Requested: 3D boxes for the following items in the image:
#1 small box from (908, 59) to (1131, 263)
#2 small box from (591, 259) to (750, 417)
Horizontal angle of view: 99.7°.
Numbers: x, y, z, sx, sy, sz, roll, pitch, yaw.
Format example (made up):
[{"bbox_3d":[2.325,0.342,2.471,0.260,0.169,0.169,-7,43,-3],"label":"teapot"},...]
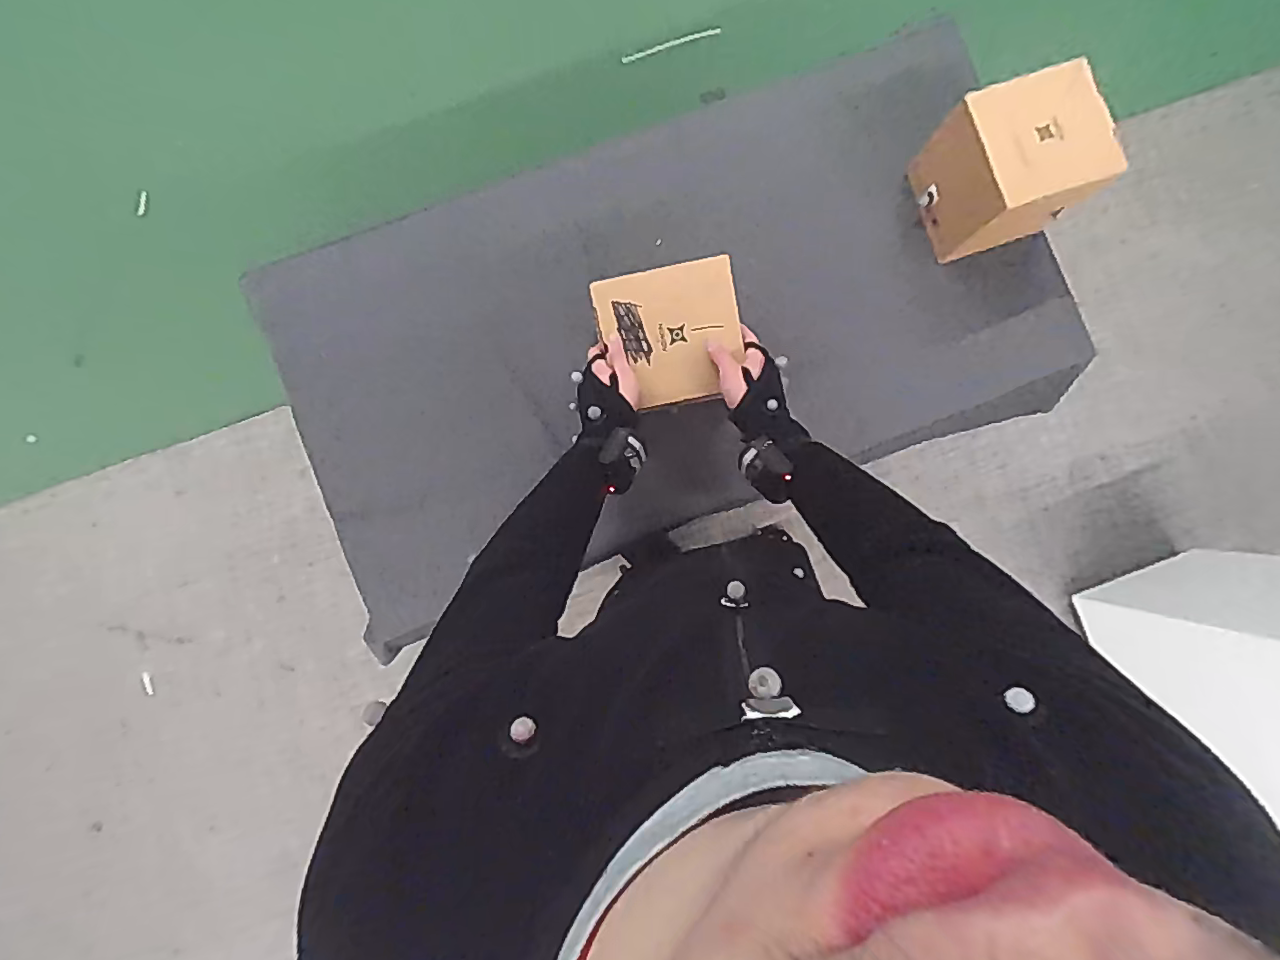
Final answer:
[{"bbox_3d":[0.533,-0.447,0.785,0.179,0.176,0.168,-19,87,0],"label":"small box"},{"bbox_3d":[0.043,-0.181,0.743,0.179,0.176,0.168,-10,95,3],"label":"small box"}]
